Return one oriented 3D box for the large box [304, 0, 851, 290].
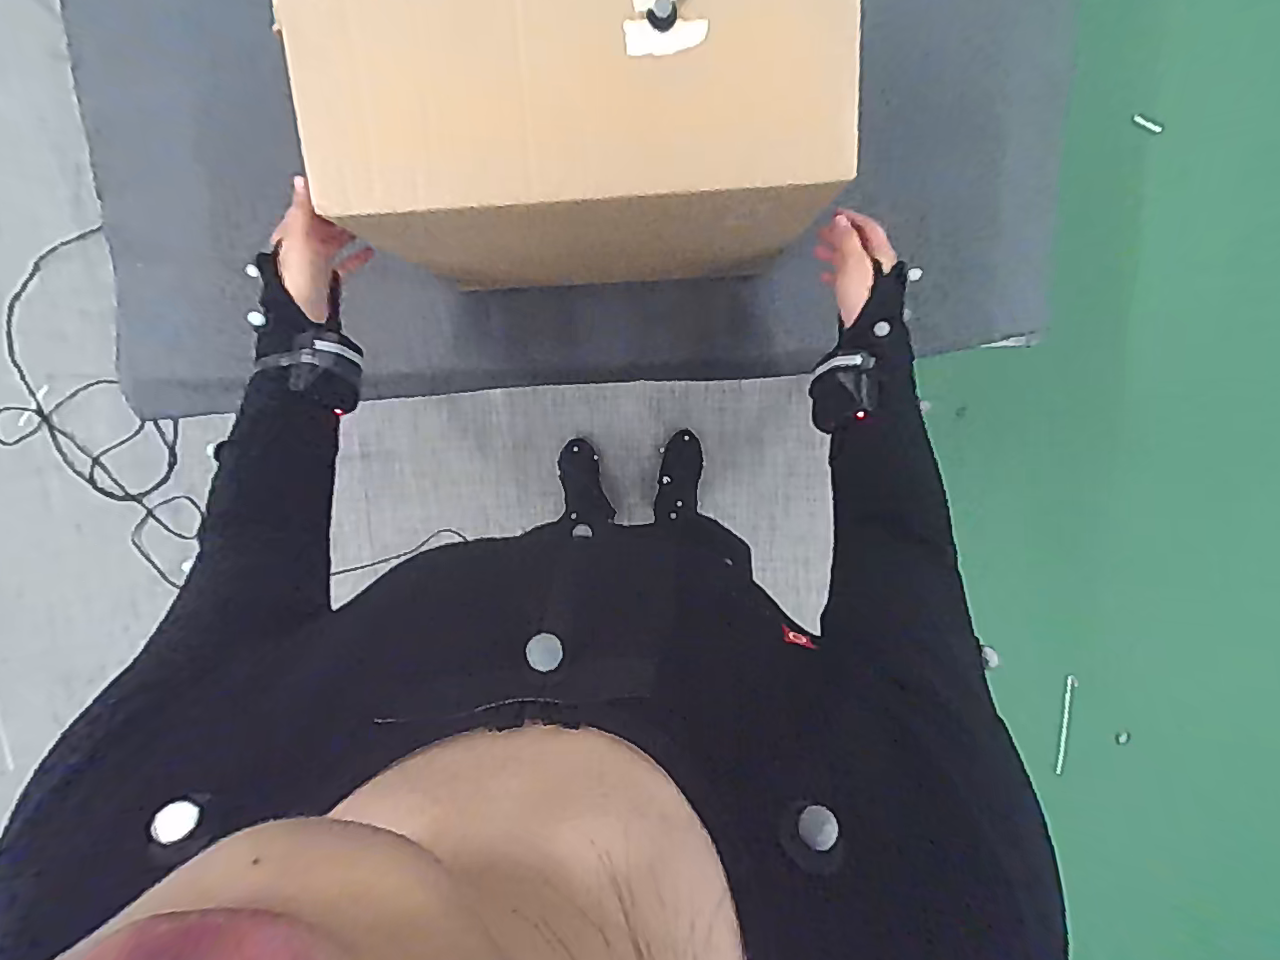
[{"bbox_3d":[-0.050,-0.390,0.538,0.408,0.320,0.320,-4,100,0],"label":"large box"}]
